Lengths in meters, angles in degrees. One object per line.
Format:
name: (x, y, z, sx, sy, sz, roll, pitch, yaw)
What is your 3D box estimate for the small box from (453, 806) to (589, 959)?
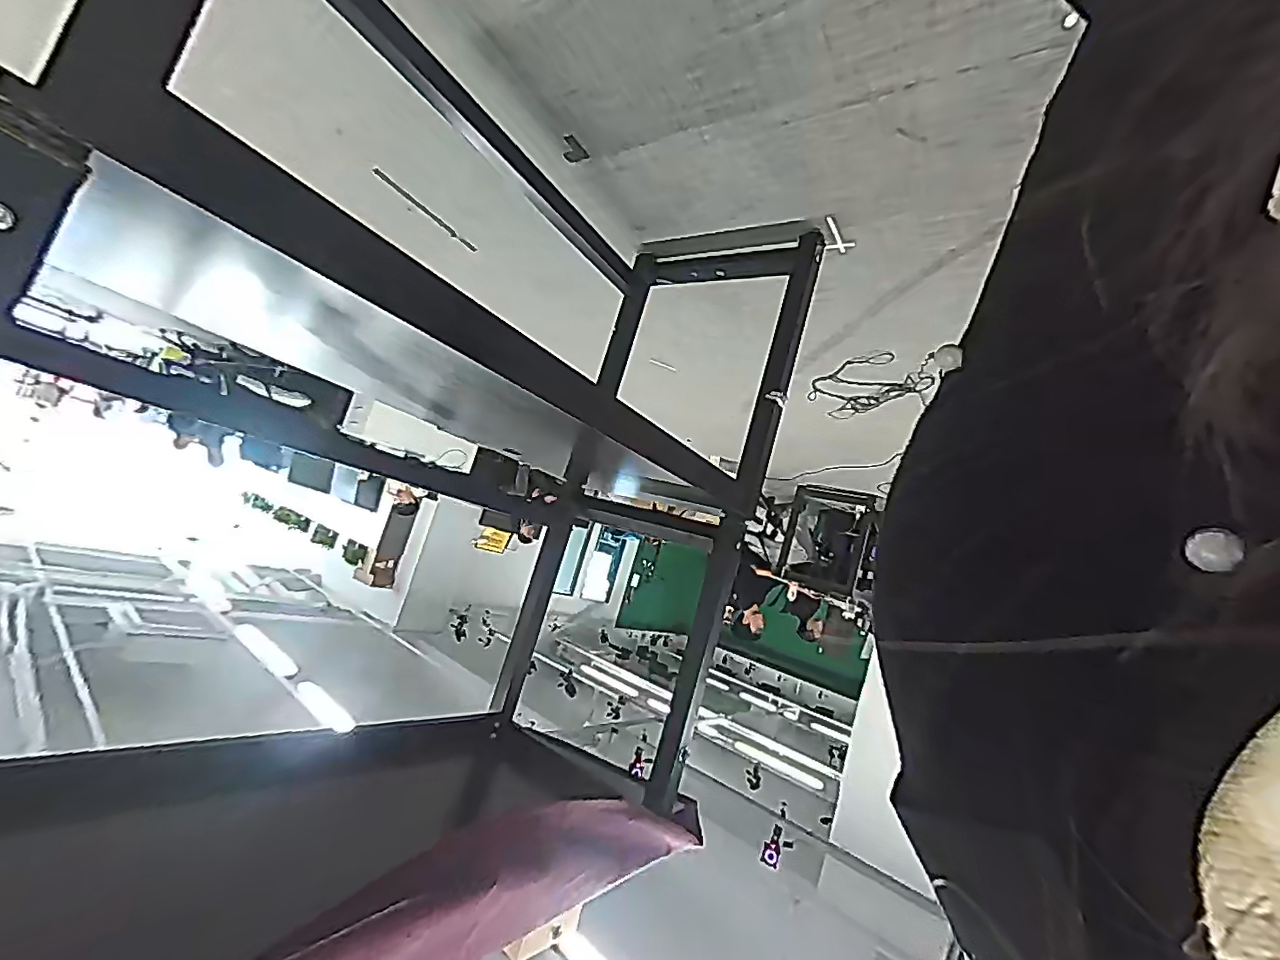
small box: (-0.230, 0.781, 1.068, 0.179, 0.176, 0.168, 12, 171, 38)
